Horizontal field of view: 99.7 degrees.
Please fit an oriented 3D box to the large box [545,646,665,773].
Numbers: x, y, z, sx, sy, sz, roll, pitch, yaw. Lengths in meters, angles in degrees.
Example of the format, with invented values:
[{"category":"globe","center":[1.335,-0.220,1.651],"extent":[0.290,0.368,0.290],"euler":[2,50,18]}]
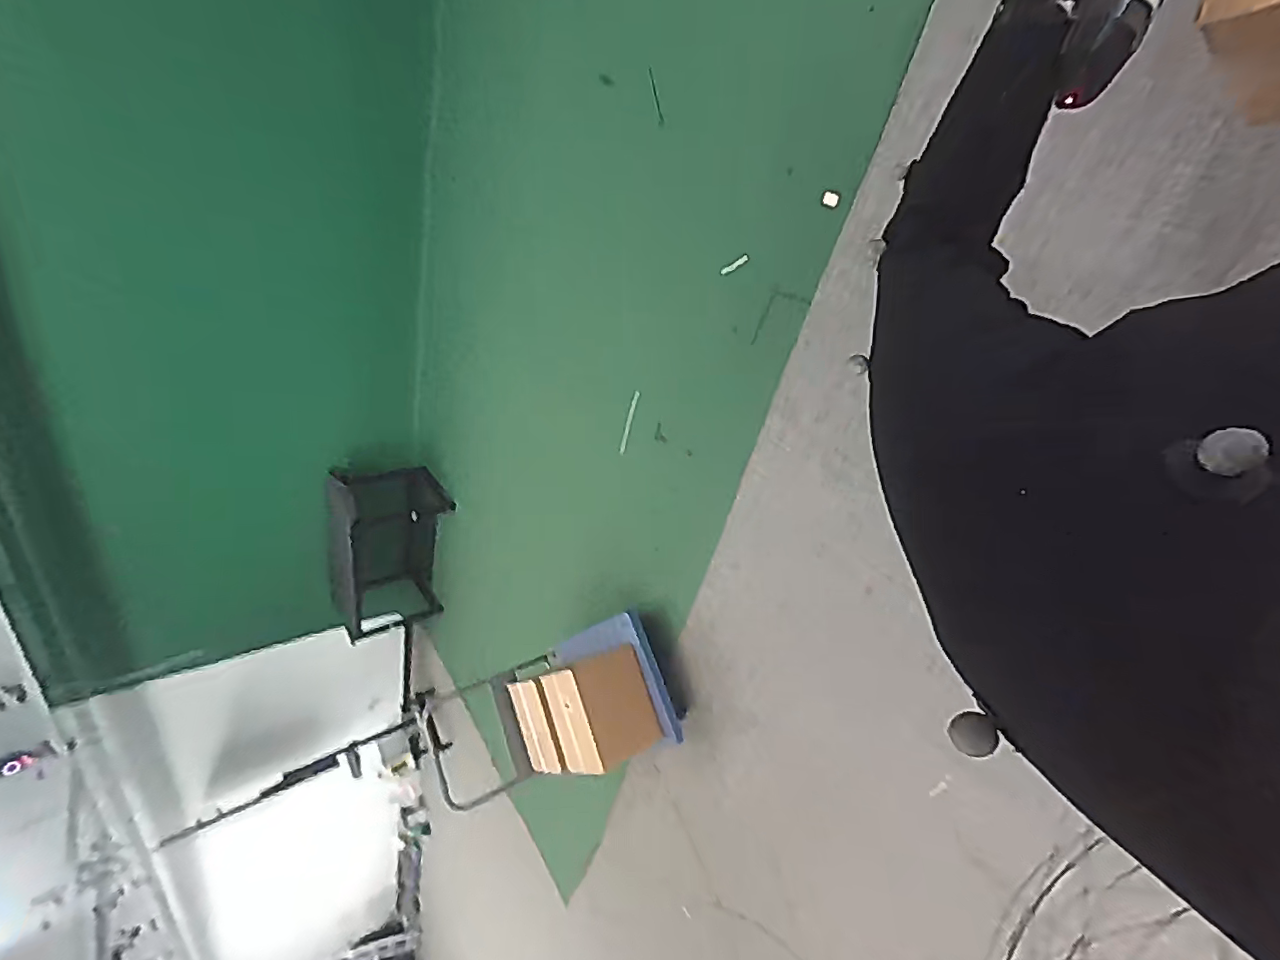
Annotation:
[{"category":"large box","center":[-0.150,0.959,2.278],"extent":[0.320,0.320,0.408],"euler":[-35,71,50]}]
